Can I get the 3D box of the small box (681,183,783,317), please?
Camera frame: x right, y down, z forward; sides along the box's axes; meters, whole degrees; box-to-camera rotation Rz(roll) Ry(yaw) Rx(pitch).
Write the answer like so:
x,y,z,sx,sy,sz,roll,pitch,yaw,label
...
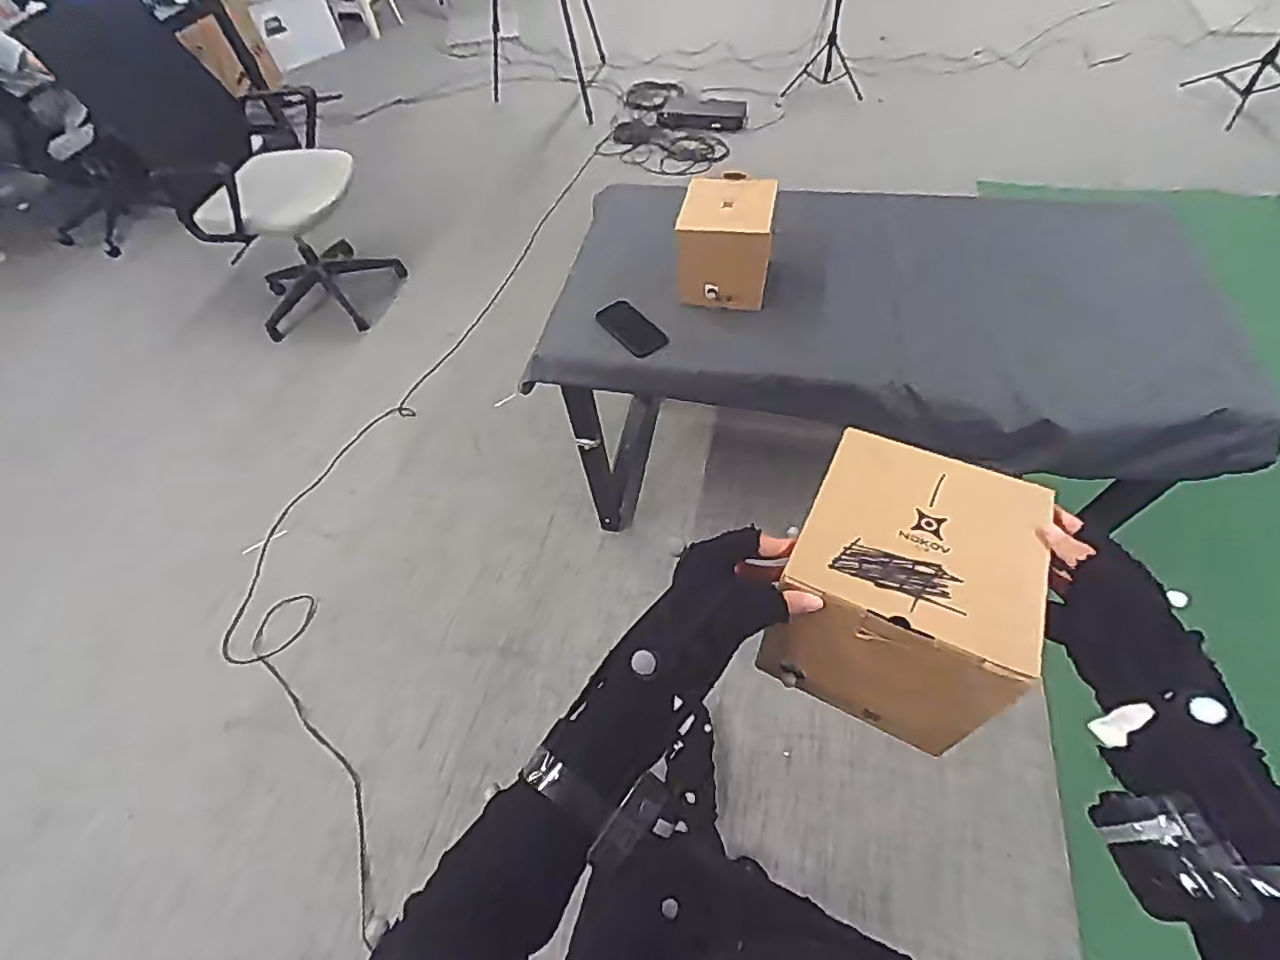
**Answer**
x,y,z,sx,sy,sz,roll,pitch,yaw,label
0.176,-0.444,1.045,0.168,0.176,0.179,8,58,12,small box
